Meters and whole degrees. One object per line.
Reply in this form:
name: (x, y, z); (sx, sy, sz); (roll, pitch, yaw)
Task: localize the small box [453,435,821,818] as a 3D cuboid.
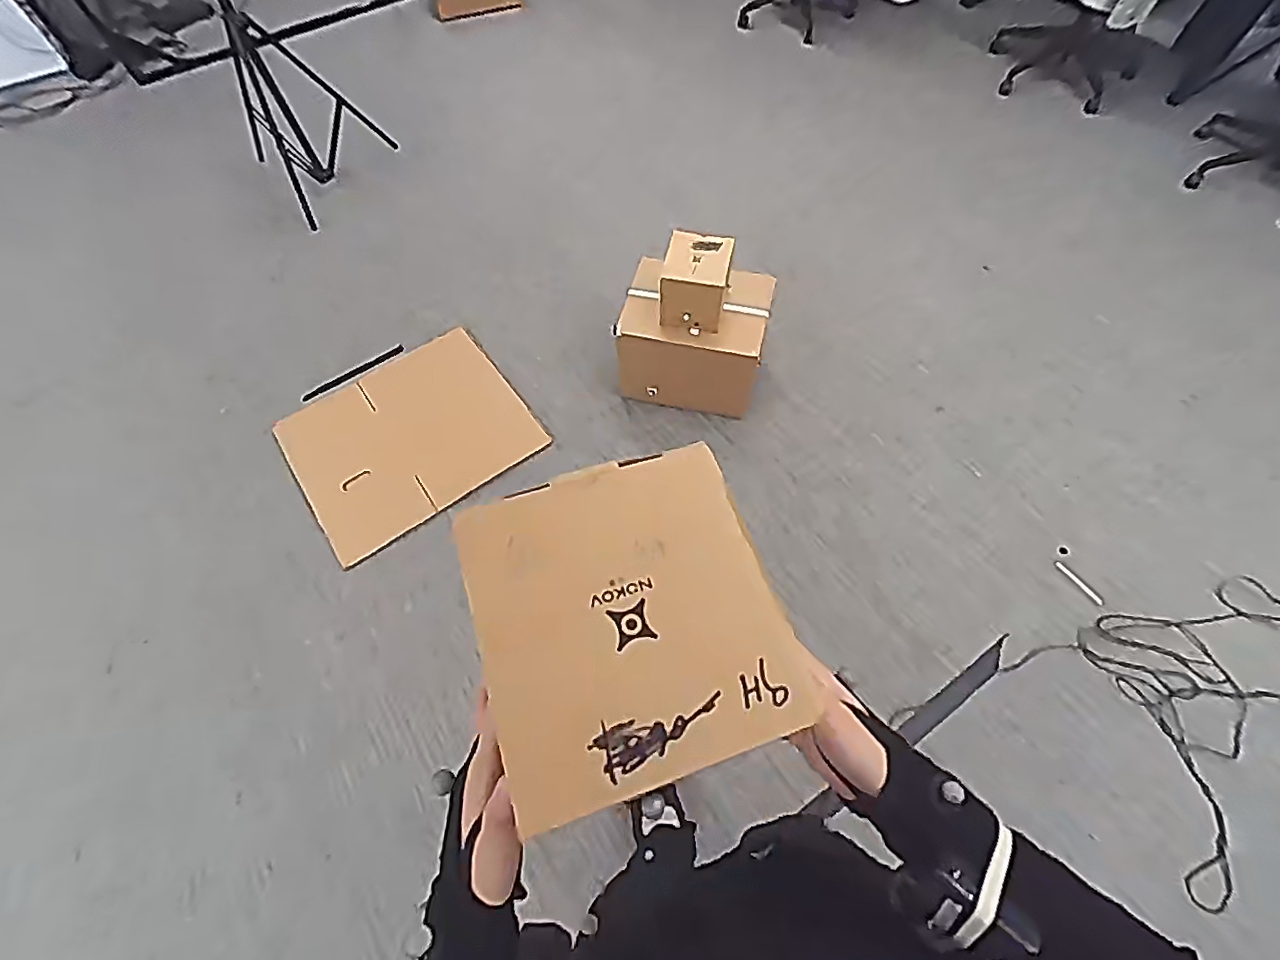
small box: (-0.012, 0.100, 0.372); (0.168, 0.176, 0.179); (-17, 66, -10)

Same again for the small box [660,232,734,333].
small box: (0.150, -0.529, 1.455); (0.168, 0.176, 0.179); (11, 64, 8)
